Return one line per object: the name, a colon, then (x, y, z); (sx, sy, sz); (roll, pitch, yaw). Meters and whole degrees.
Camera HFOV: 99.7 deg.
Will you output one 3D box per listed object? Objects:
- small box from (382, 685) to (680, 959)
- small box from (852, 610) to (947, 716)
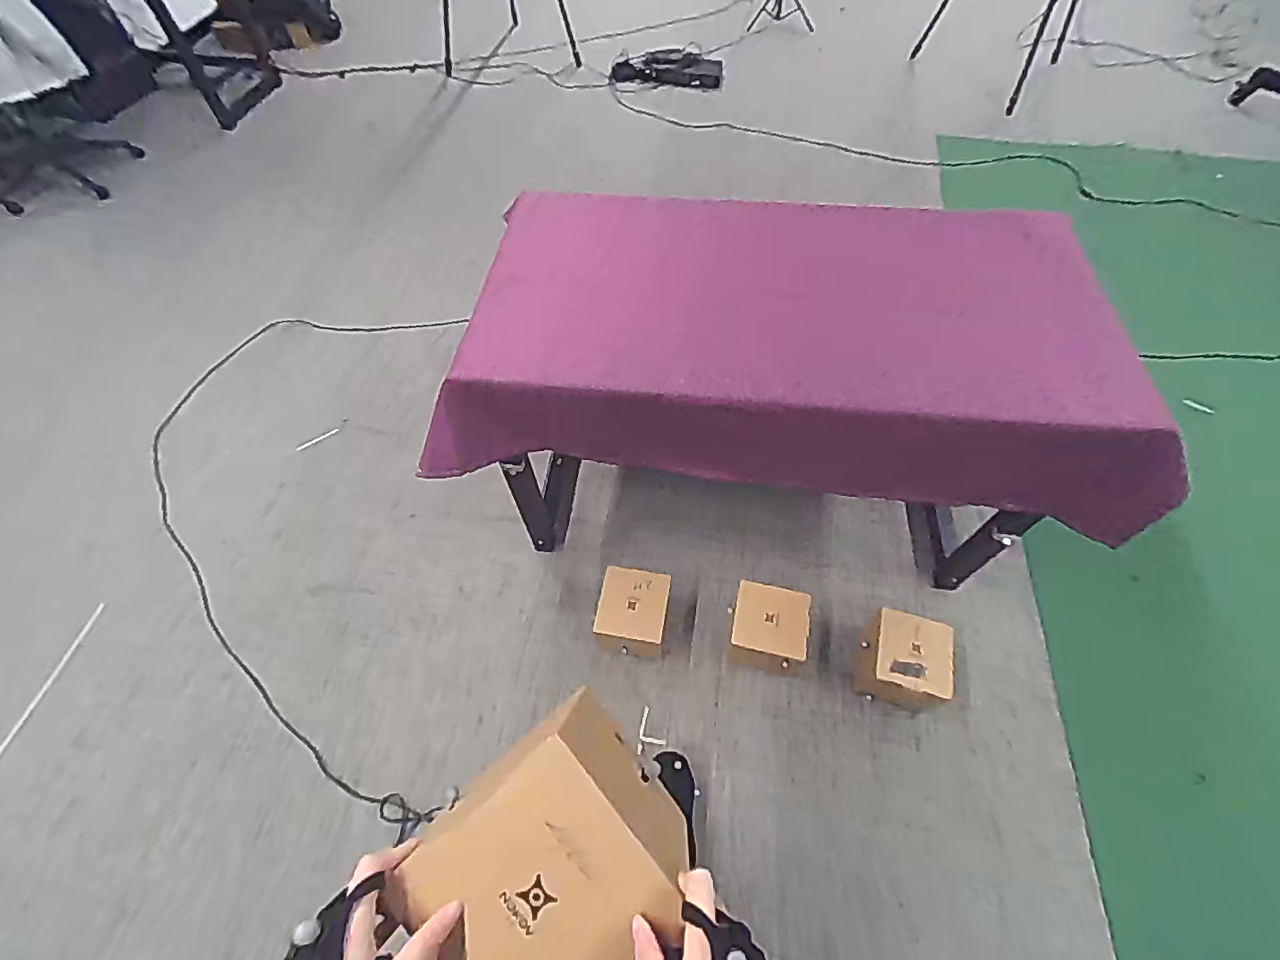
small box: (-0.079, 0.318, 0.487); (0.179, 0.176, 0.168); (-40, 82, -4)
small box: (0.623, 0.447, 1.309); (0.168, 0.176, 0.179); (14, 54, 10)
